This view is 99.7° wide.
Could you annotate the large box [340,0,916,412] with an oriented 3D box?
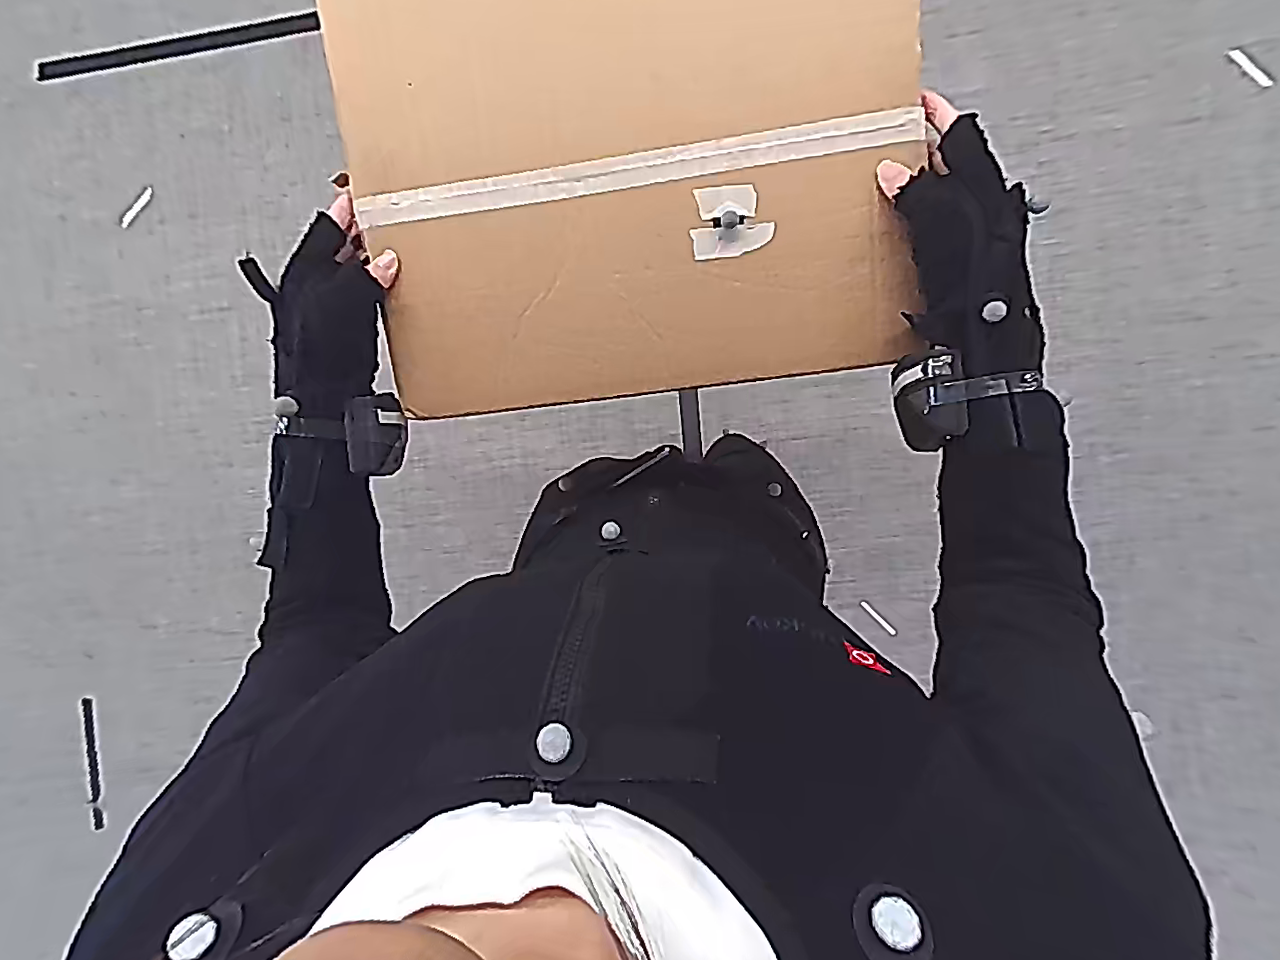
[{"bbox_3d":[0.003,-0.257,0.548,0.408,0.320,0.320,-6,102,5],"label":"large box"}]
